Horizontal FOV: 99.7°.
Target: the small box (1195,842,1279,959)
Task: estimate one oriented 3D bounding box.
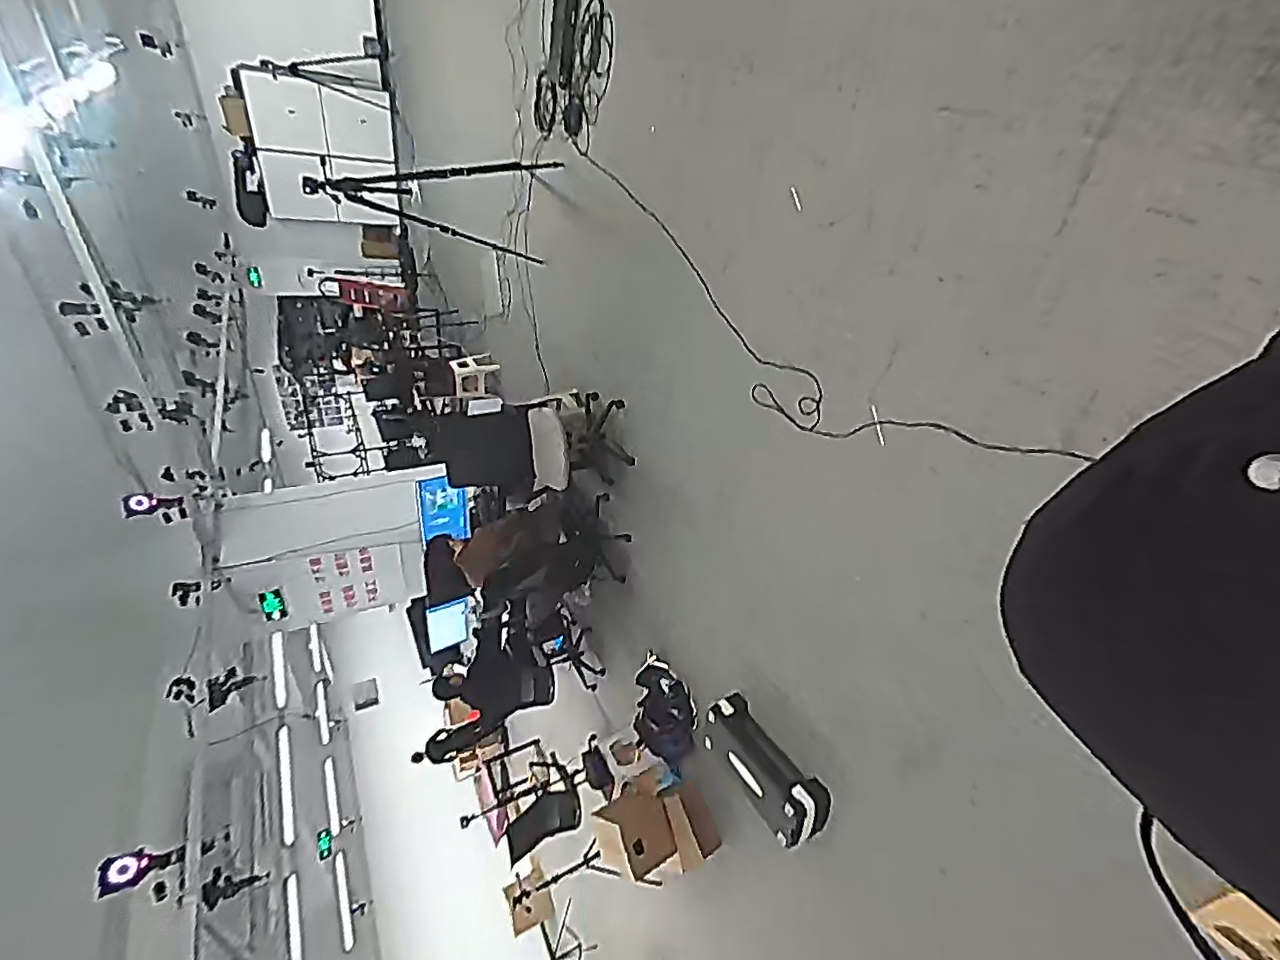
[{"bbox_3d":[1.210,0.820,0.998,0.168,0.176,0.179,47,138,42],"label":"small box"}]
